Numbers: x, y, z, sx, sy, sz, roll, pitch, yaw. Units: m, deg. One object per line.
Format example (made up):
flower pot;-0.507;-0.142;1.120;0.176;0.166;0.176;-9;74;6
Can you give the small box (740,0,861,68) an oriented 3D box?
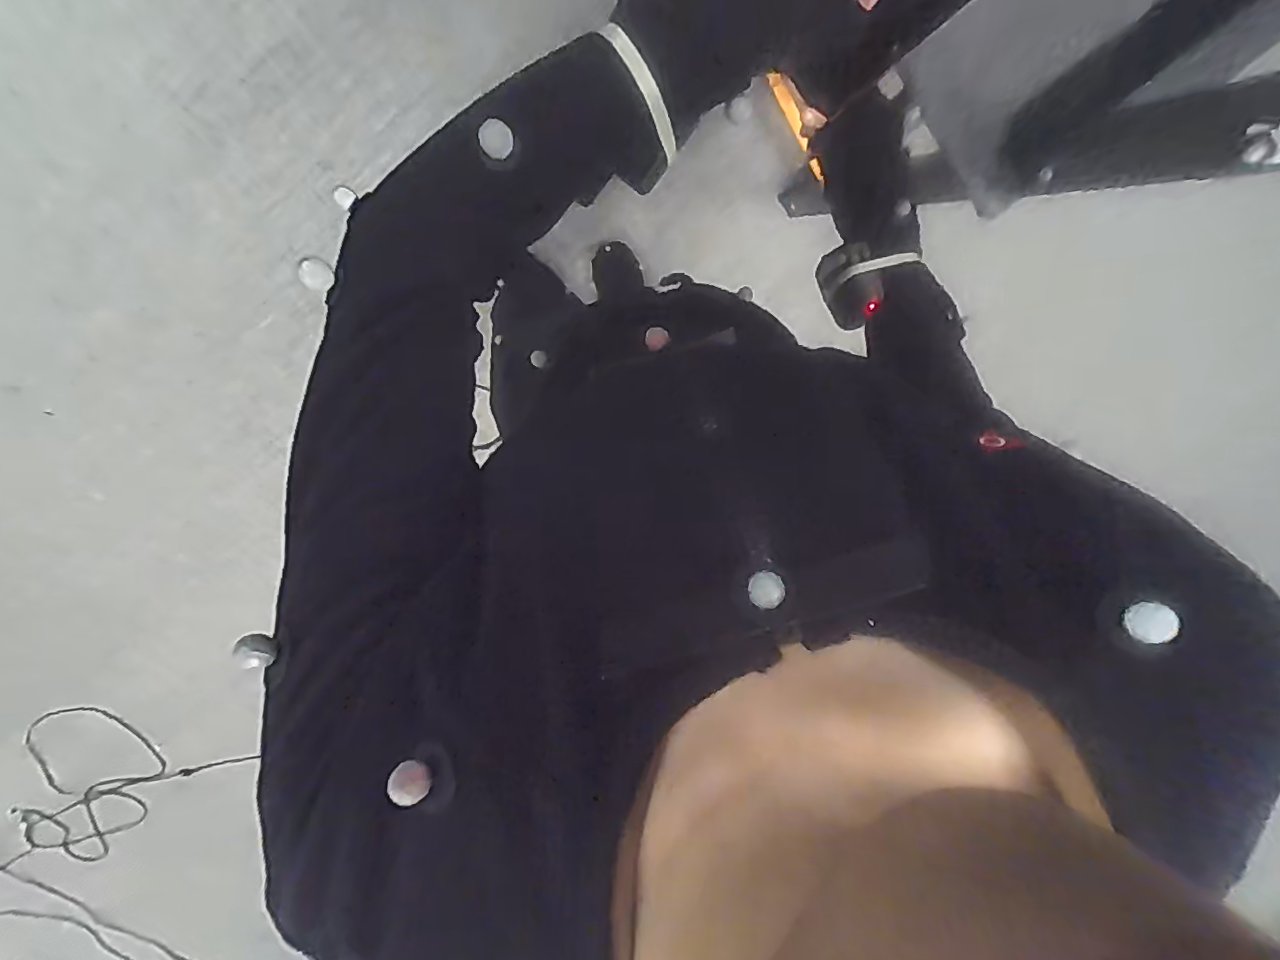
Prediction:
small box;0.289;-0.888;0.966;0.179;0.176;0.168;-31;113;9
